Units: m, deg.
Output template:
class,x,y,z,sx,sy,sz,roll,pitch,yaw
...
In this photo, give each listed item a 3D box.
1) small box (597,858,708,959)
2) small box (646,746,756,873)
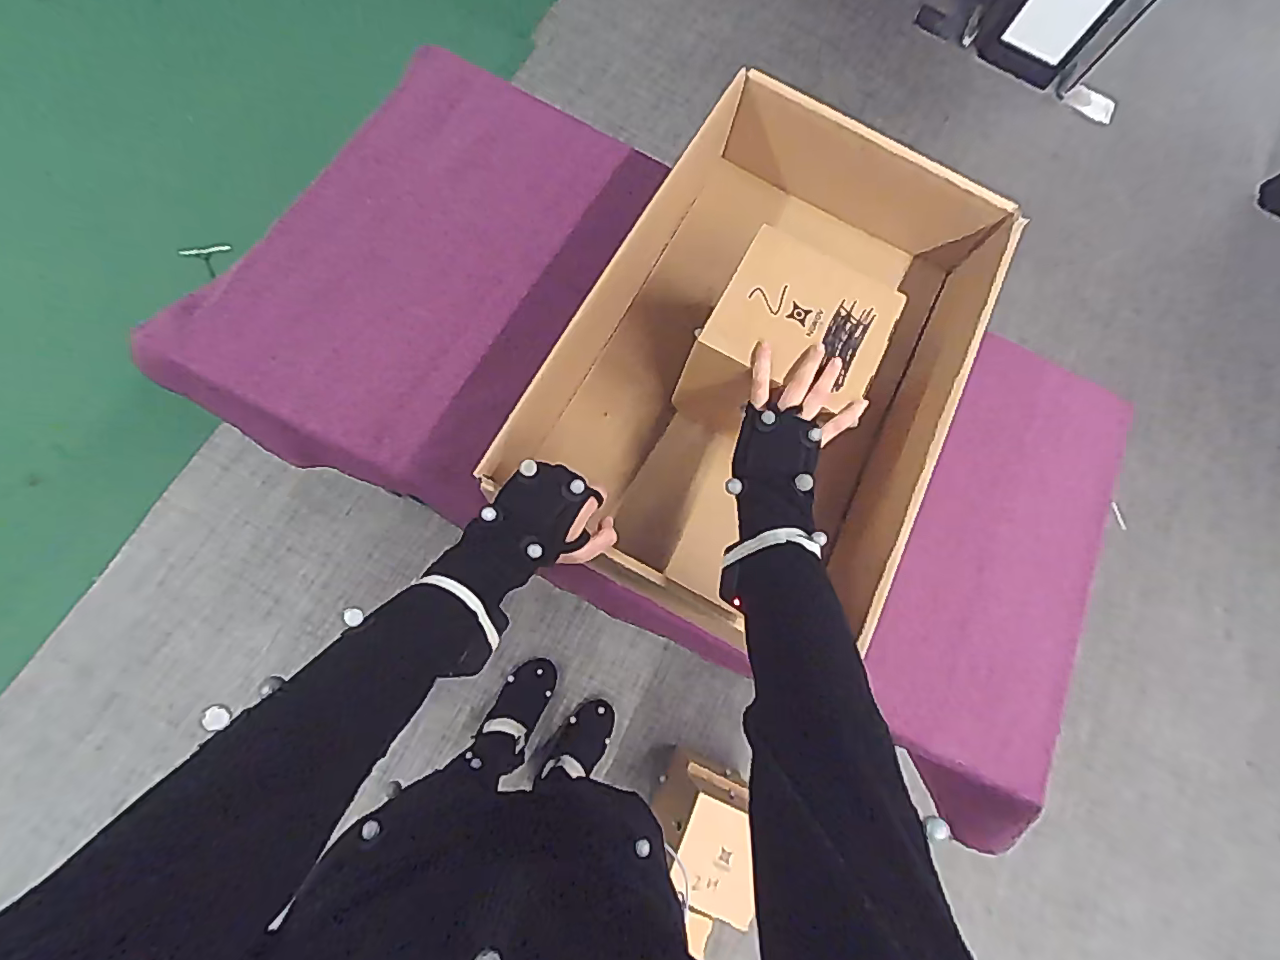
class,x,y,z,sx,sy,sz,roll,pitch,yaw
small box,0.018,0.940,1.143,0.179,0.176,0.168,23,73,-2
small box,0.130,0.725,1.212,0.179,0.176,0.168,27,74,1
